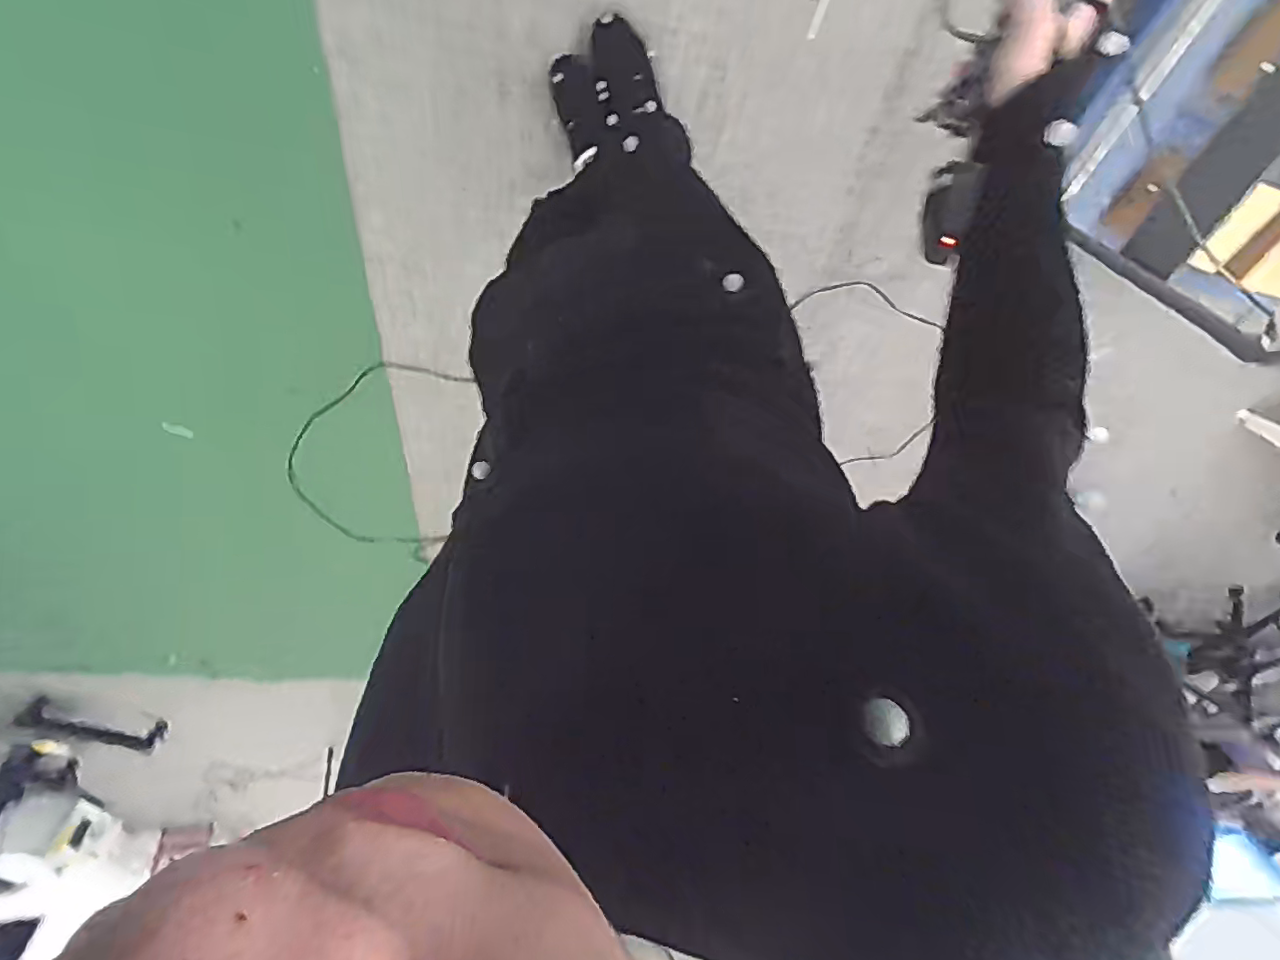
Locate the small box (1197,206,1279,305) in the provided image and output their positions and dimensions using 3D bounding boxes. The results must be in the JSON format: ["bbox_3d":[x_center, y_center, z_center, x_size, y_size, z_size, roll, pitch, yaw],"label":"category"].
[{"bbox_3d":[1.425,-0.532,1.251,0.179,0.176,0.168,8,132,-12],"label":"small box"}]

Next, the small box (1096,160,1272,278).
[{"bbox_3d":[1.180,-0.576,1.189,0.179,0.176,0.168,10,132,-14],"label":"small box"}]
